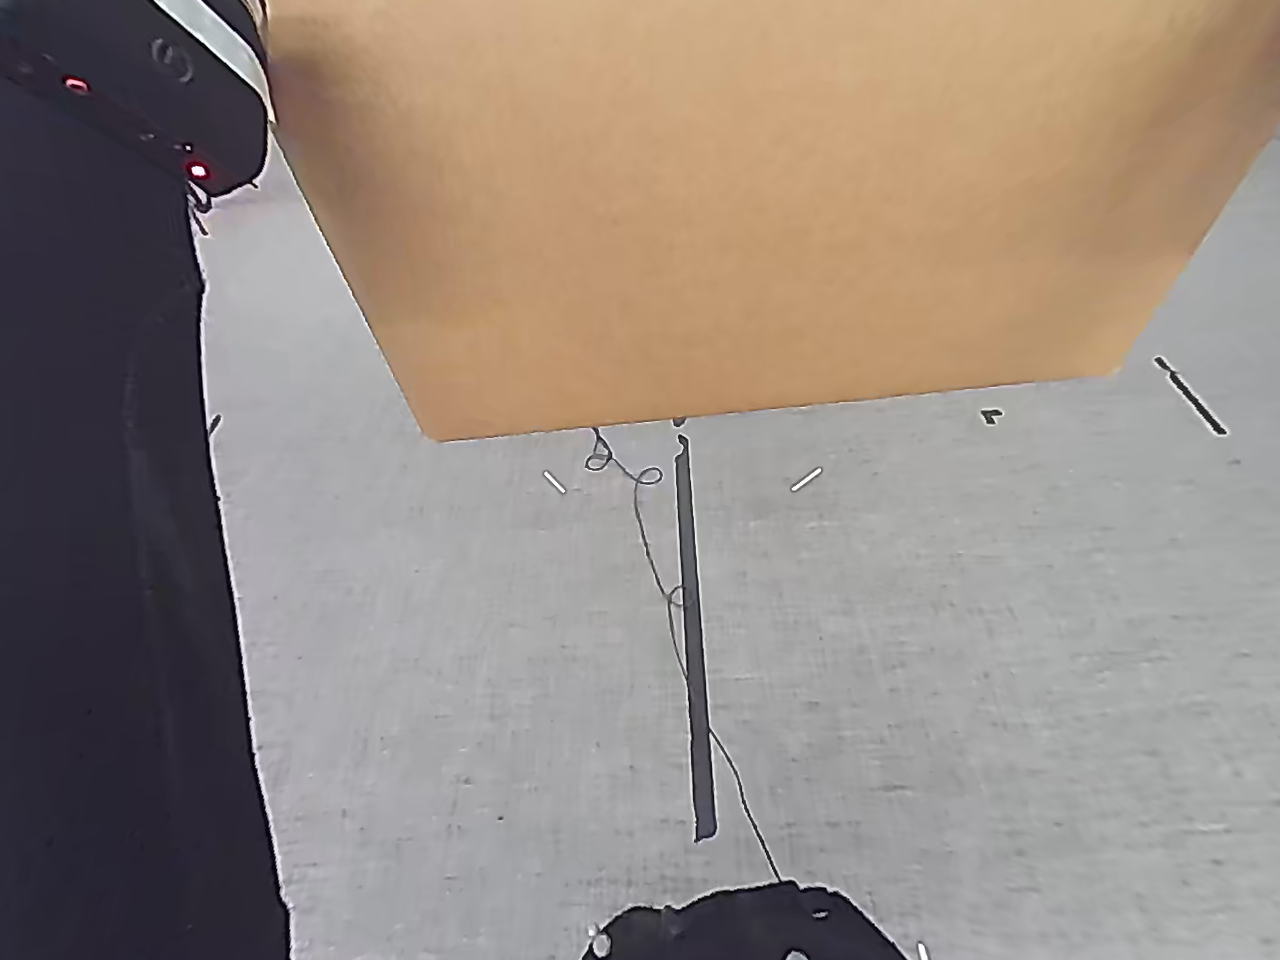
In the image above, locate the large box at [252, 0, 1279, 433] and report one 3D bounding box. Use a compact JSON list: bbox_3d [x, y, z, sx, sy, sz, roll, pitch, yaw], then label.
[{"bbox_3d":[0.051,-0.256,0.324,0.408,0.320,0.320,-6,46,0],"label":"large box"}]
